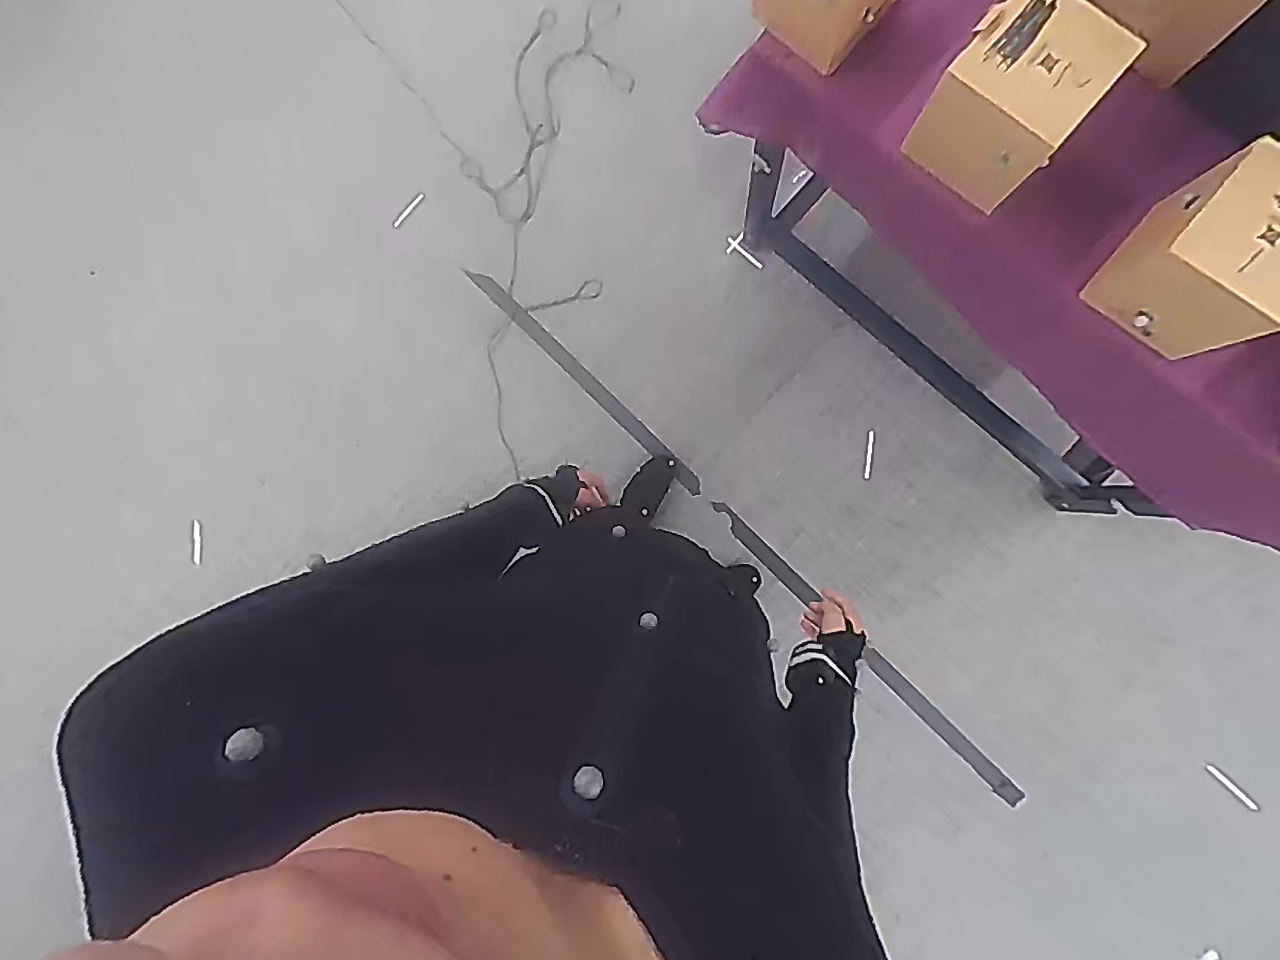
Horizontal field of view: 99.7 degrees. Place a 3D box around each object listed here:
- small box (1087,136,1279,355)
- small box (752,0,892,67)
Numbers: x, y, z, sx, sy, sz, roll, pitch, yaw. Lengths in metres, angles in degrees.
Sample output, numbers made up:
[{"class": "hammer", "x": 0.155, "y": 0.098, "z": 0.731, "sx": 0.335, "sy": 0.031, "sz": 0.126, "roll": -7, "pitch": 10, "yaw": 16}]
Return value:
[{"class": "small box", "x": 0.770, "y": -0.298, "z": 0.726, "sx": 0.168, "sy": 0.176, "sz": 0.179, "roll": 40, "pitch": 94, "yaw": 7}, {"class": "small box", "x": 0.284, "y": -0.773, "z": 0.797, "sx": 0.179, "sy": 0.176, "sz": 0.168, "roll": 42, "pitch": 94, "yaw": 5}]
